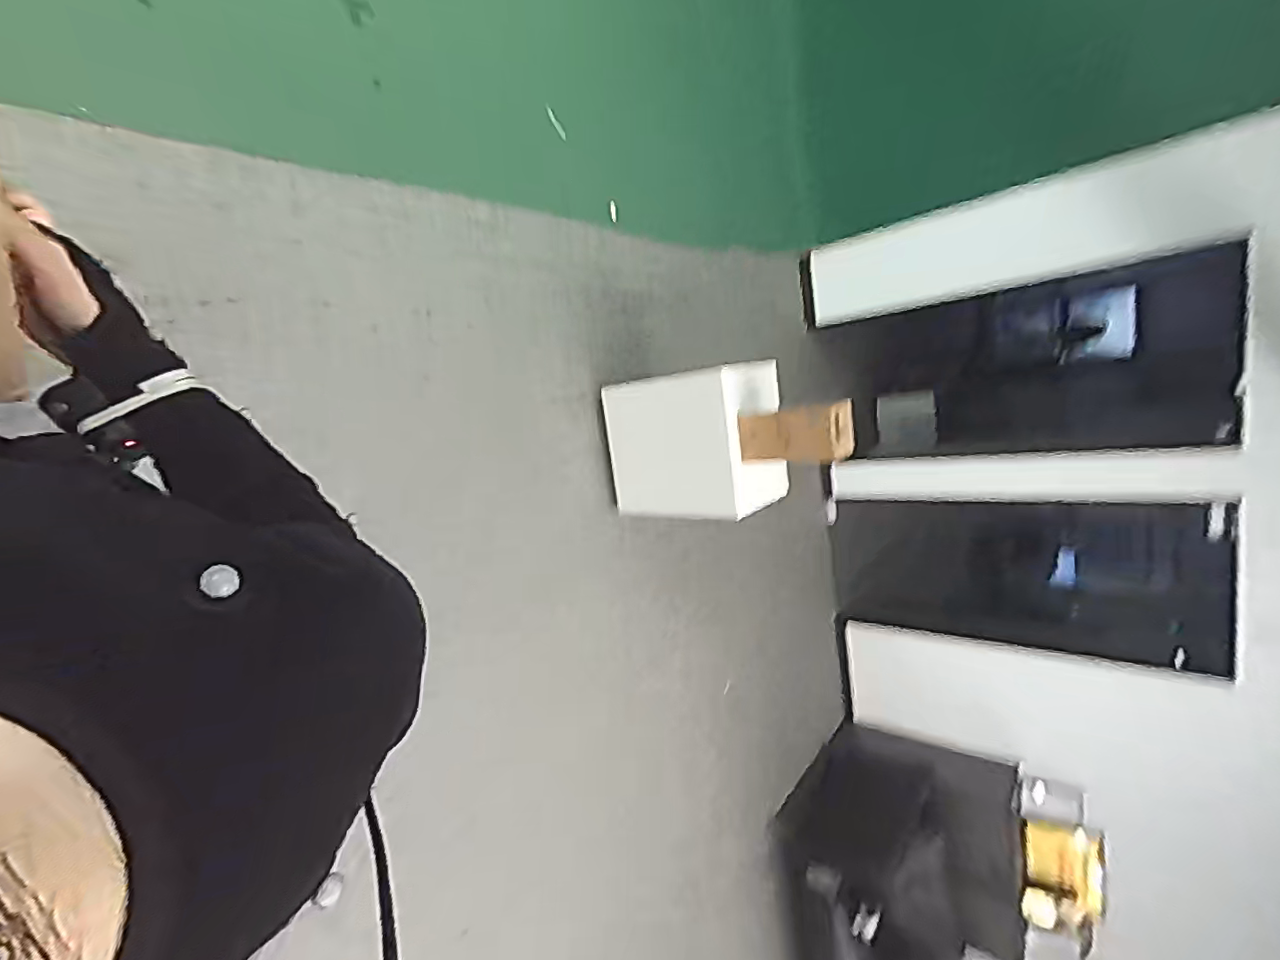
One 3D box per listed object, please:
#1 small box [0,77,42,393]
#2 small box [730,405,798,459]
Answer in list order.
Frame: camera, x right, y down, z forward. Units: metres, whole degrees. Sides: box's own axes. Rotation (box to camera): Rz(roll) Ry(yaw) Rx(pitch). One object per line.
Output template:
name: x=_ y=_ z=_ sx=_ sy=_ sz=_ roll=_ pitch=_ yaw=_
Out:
small box: x=-0.461 y=-0.157 z=0.281 sx=0.168 sy=0.176 sz=0.179 roll=-15 pitch=131 yaw=-55
small box: x=0.430 y=-0.166 z=1.866 sx=0.179 sy=0.176 sz=0.168 roll=-18 pitch=103 yaw=-50
